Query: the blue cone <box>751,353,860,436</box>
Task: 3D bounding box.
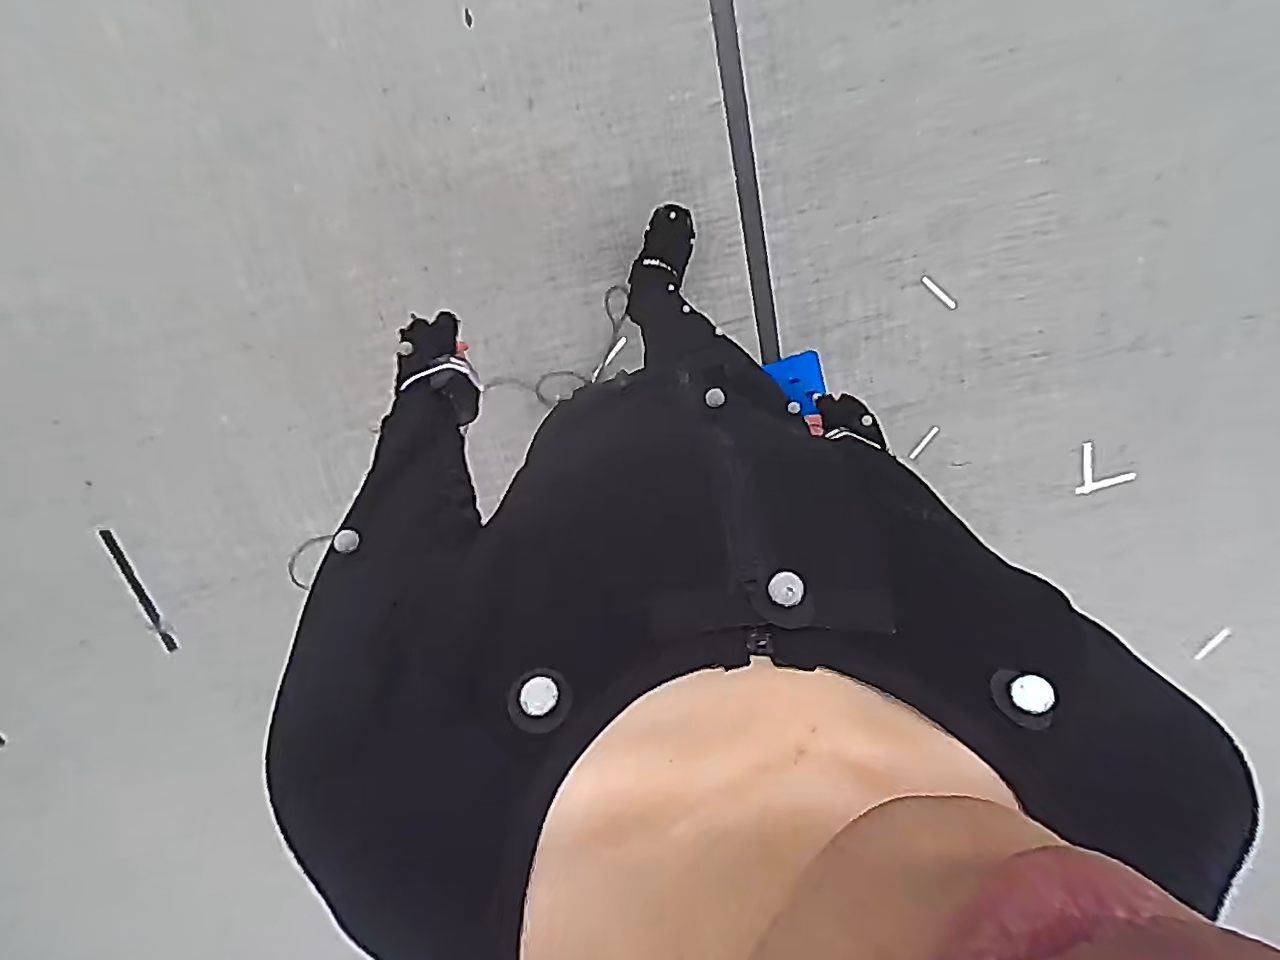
[{"bbox_3d":[0.409,-0.170,1.279,0.192,0.380,0.193,-18,109,1],"label":"blue cone"}]
